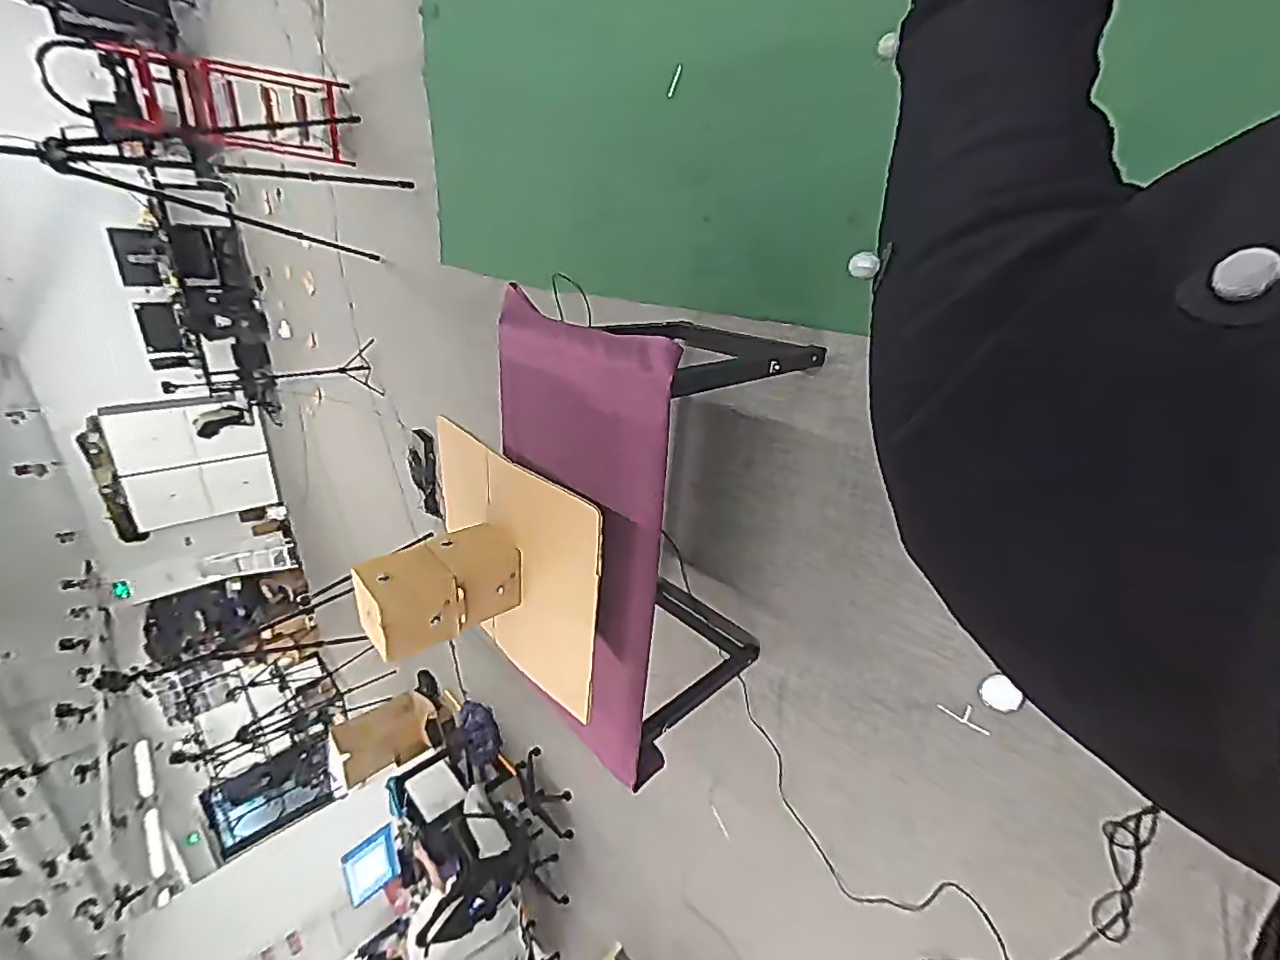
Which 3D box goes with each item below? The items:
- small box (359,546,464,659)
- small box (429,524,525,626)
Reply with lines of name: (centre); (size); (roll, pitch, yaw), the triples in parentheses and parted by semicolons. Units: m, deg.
small box: (-0.520, 0.268, 1.238); (0.179, 0.176, 0.168); (27, 123, 41)
small box: (-0.403, 0.227, 1.345); (0.179, 0.176, 0.168); (30, 125, 40)
